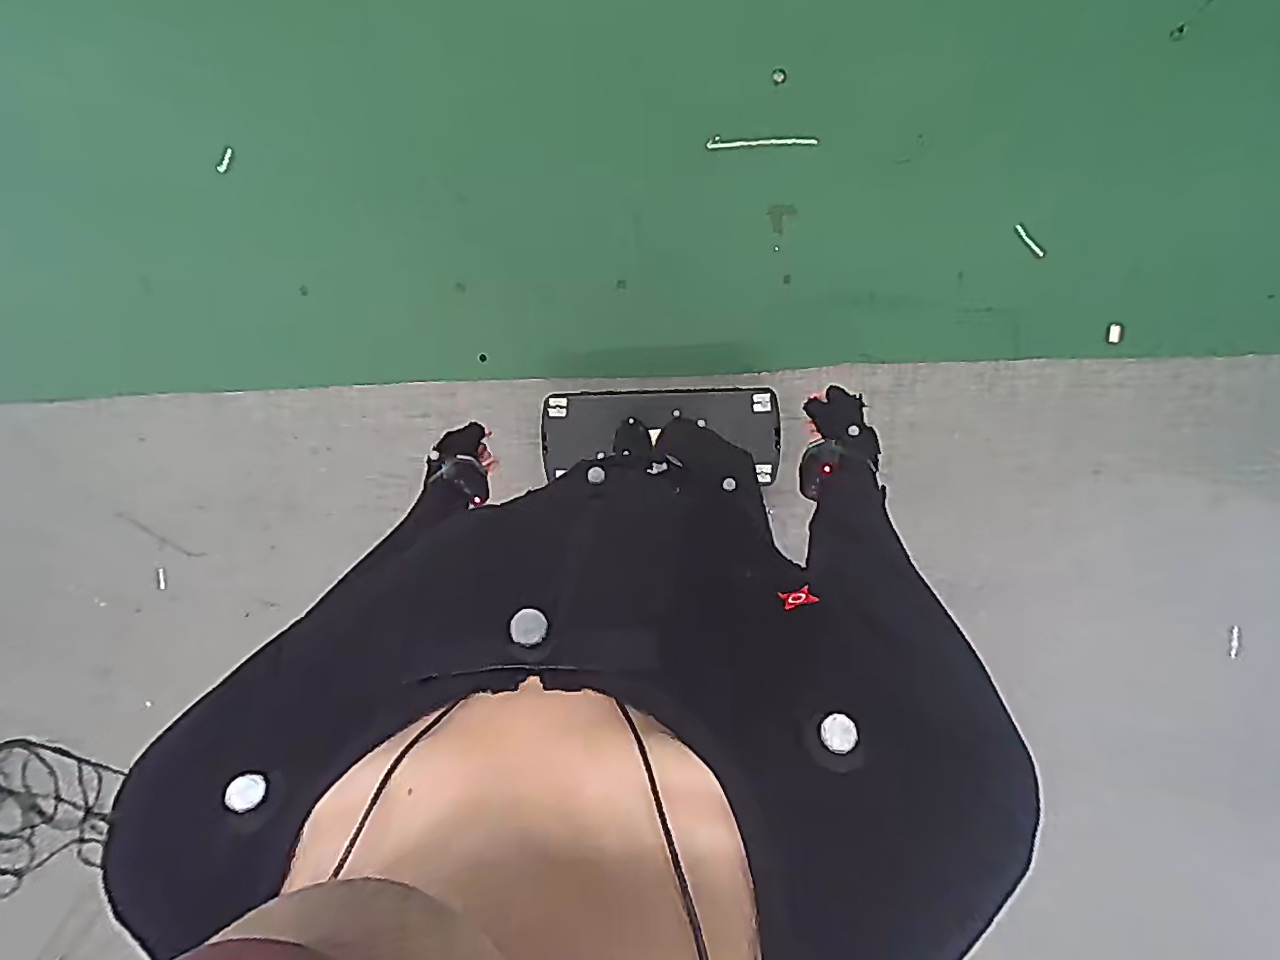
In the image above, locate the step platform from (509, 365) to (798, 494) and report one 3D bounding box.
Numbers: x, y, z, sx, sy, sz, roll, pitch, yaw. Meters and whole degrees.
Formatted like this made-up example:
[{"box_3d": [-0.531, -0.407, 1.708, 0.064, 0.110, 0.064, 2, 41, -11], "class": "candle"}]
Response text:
[{"box_3d": [0.033, -0.128, 1.365, 0.684, 0.204, 0.286, -2, 98, 3], "class": "step platform"}]
